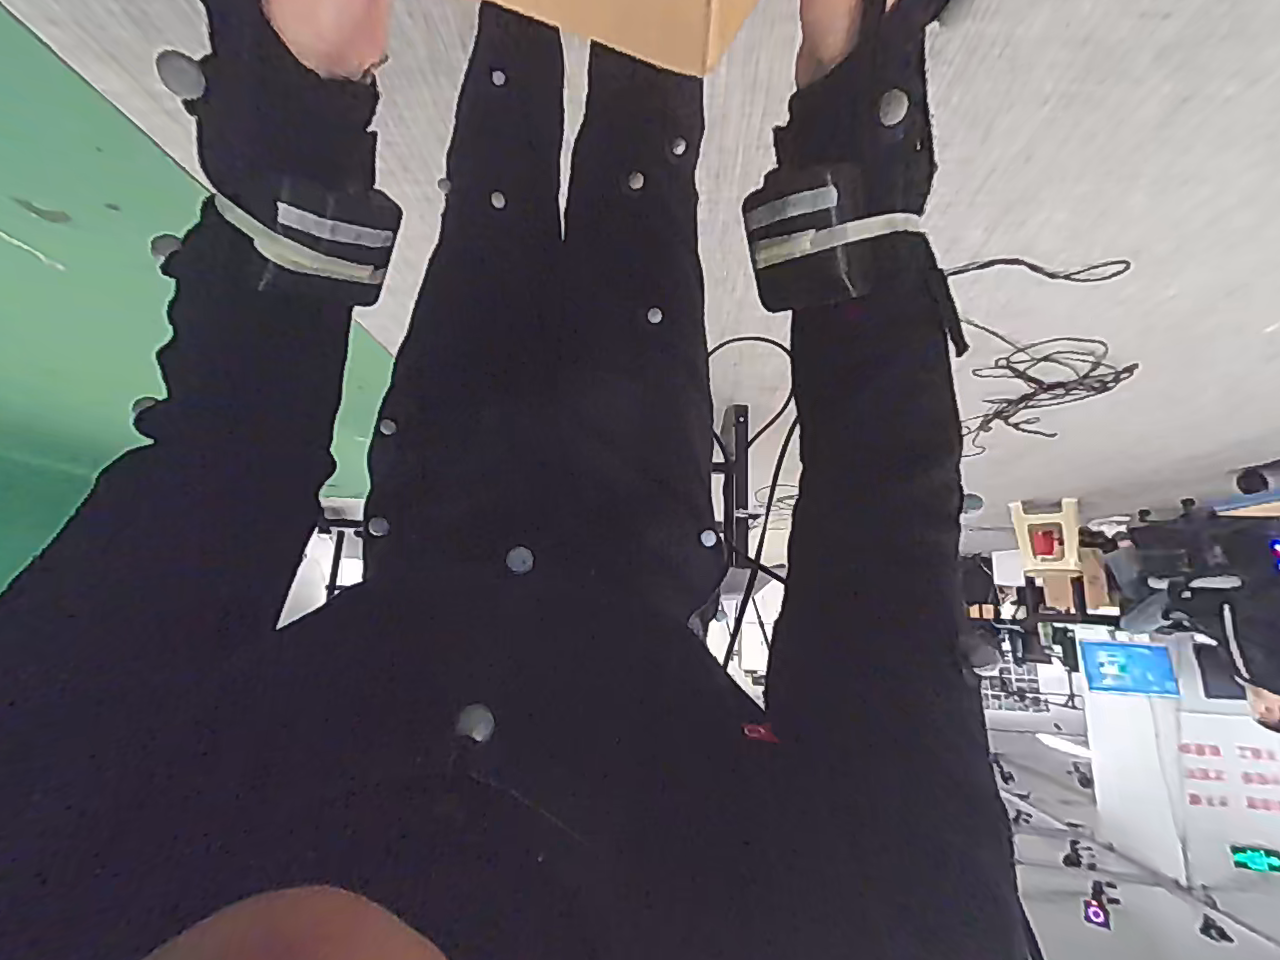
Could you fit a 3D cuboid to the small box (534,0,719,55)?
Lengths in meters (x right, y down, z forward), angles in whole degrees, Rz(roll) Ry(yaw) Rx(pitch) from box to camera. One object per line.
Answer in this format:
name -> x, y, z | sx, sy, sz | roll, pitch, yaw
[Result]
small box -> -0.015, -0.298, 0.169 | 0.179, 0.176, 0.168 | 26, 169, 8
